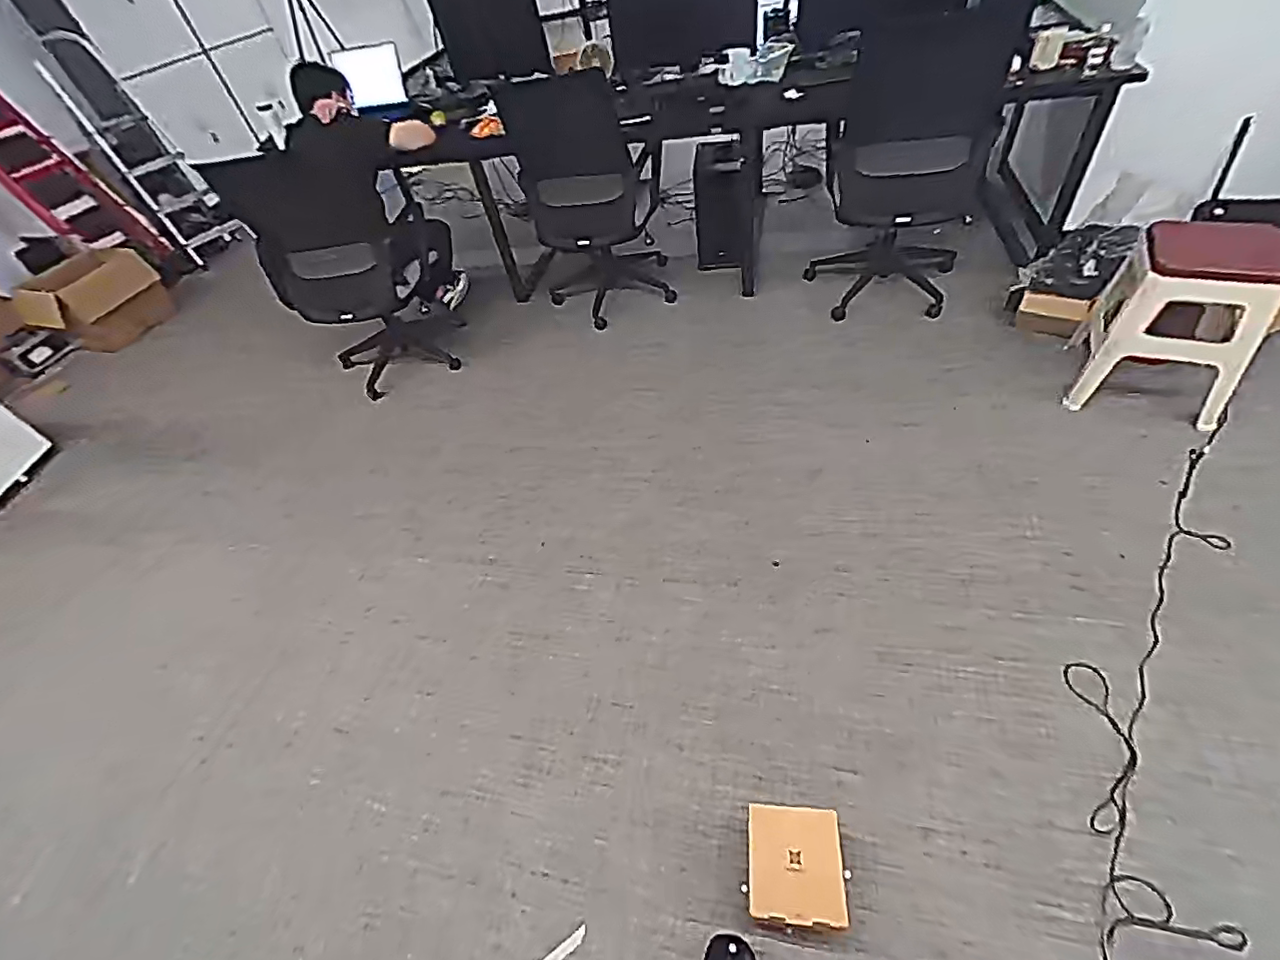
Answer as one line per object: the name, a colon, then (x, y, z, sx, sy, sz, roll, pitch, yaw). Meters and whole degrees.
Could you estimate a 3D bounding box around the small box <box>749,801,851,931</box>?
small box: (0.295, 0.738, 1.034, 0.168, 0.176, 0.179, -2, 49, 11)
